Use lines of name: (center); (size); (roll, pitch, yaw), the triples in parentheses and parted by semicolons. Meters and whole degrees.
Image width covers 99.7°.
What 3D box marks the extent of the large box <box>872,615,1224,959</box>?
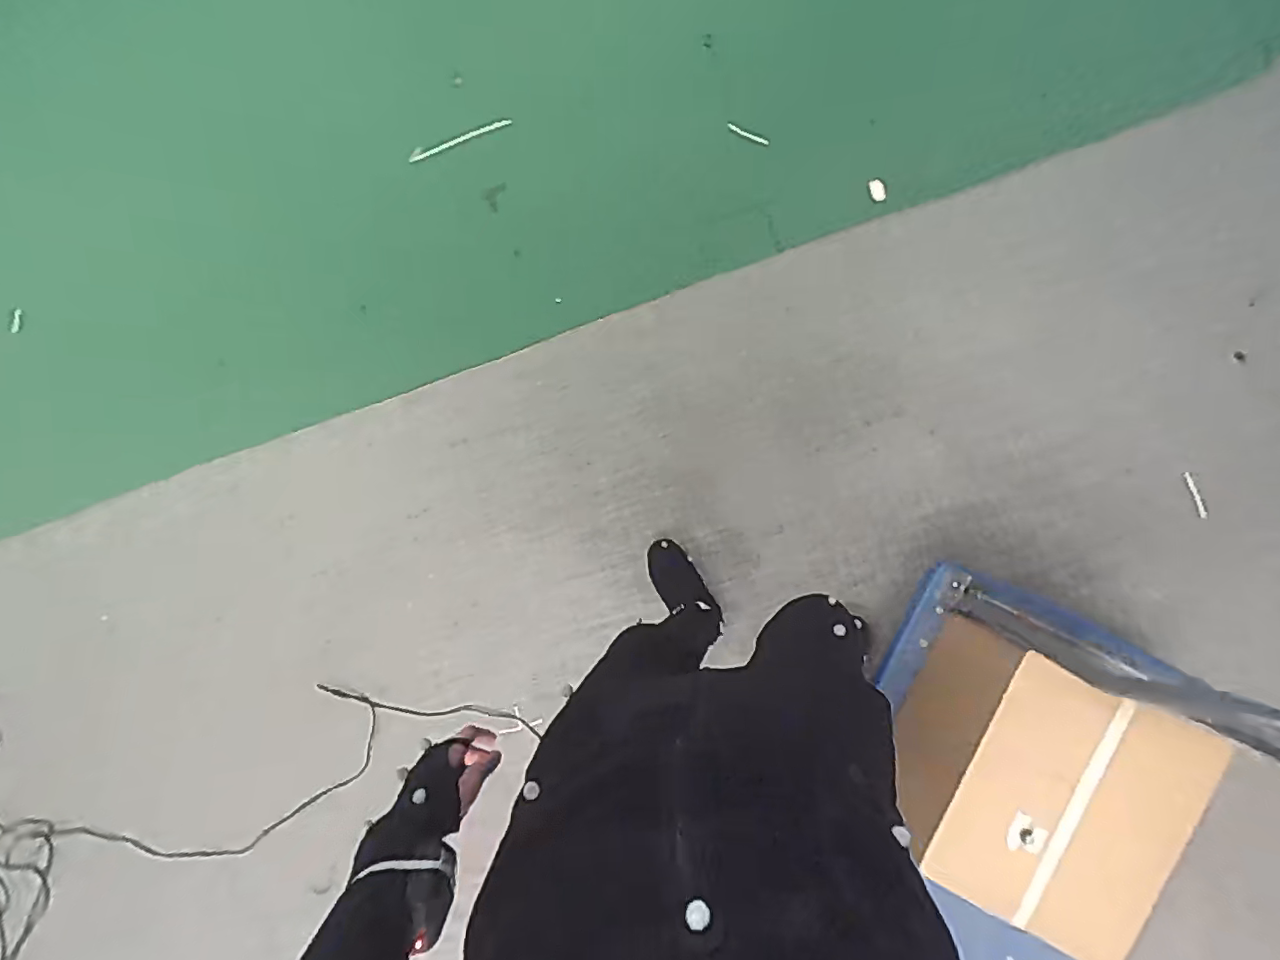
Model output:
large box: (0.690, 0.518, 0.990); (0.320, 0.320, 0.408); (25, 92, 10)
